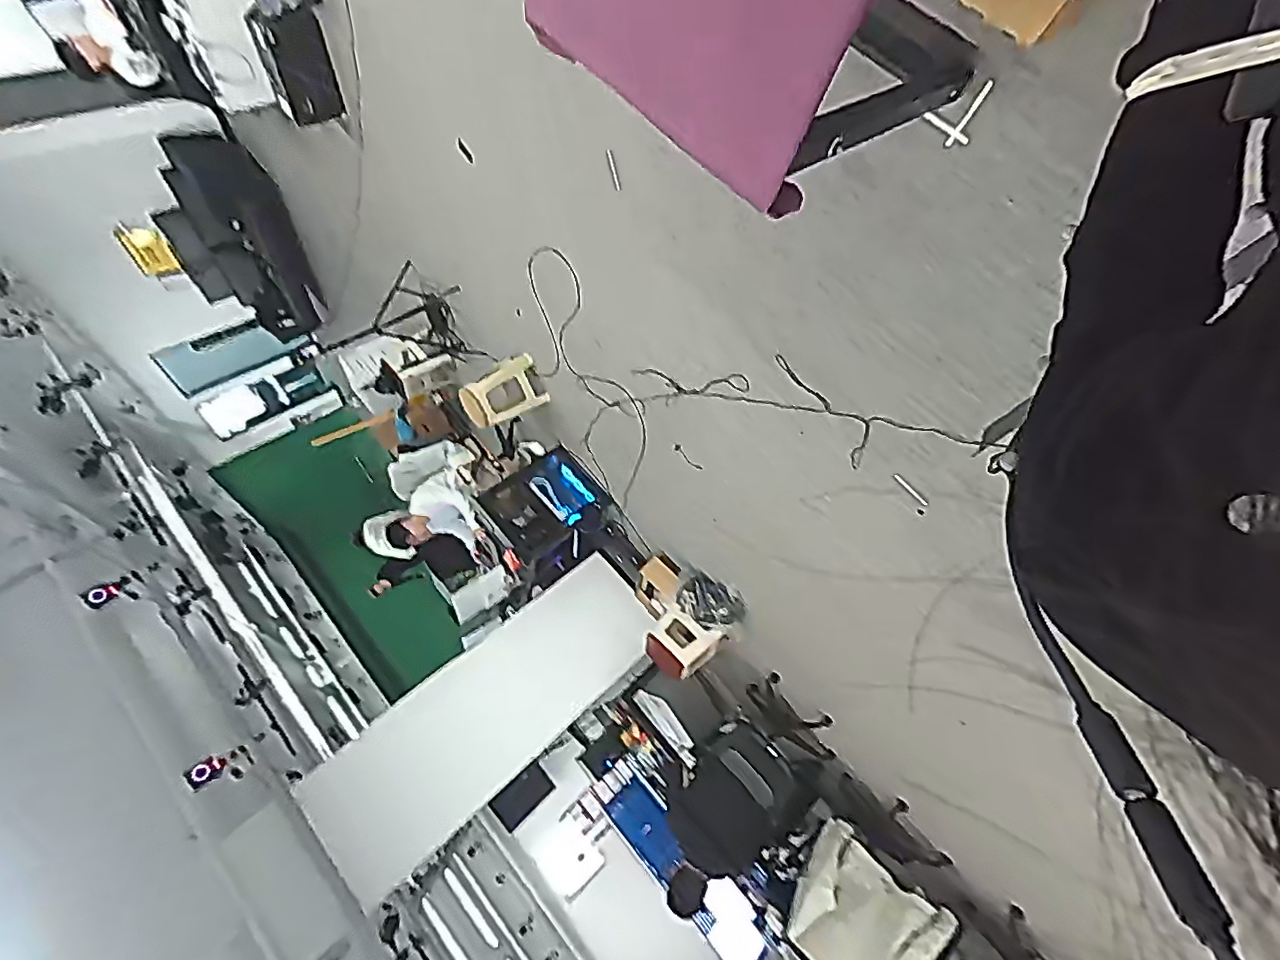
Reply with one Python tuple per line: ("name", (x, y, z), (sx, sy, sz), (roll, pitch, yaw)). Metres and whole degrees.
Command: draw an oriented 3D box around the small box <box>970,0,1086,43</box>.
("small box", (0.713, -0.907, 0.930), (0.168, 0.176, 0.179), (47, 152, 10))
